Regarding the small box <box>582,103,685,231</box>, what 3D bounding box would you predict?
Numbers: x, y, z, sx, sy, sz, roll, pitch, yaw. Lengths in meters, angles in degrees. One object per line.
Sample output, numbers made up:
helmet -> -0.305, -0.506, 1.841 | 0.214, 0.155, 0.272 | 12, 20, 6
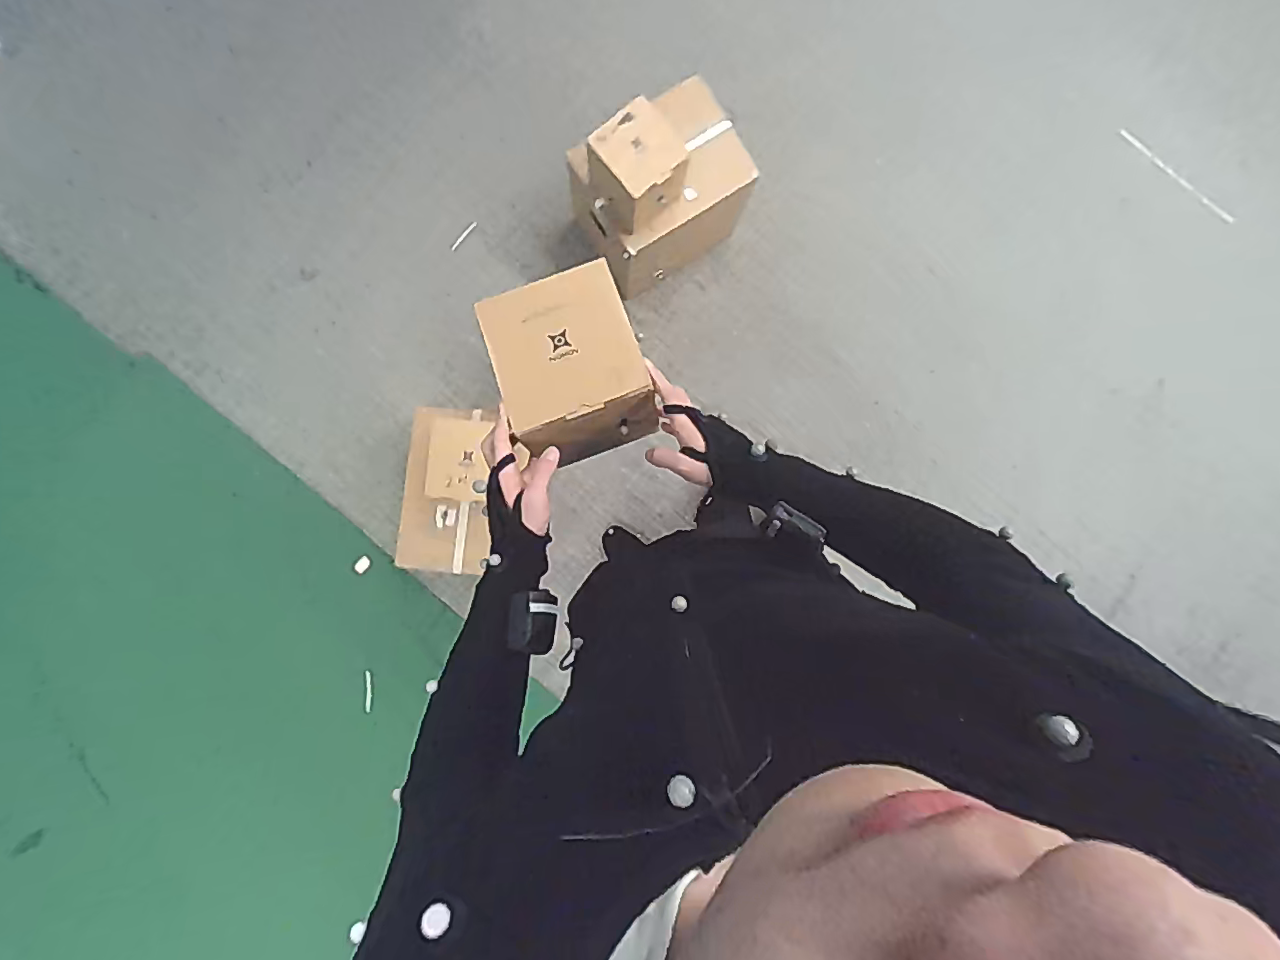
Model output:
small box -> -0.018, -0.721, 1.275 | 0.168, 0.176, 0.179 | -40, 91, -4

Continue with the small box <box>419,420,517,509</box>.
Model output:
small box -> -0.381, -0.029, 1.227 | 0.168, 0.176, 0.179 | 6, 87, -3

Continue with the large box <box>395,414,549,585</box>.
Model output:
large box -> -0.431, 0.050, 1.469 | 0.320, 0.320, 0.408 | 6, 88, -1

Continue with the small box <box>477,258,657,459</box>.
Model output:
small box -> -0.081, -0.137, 0.684 | 0.168, 0.176, 0.179 | -19, 76, -1
